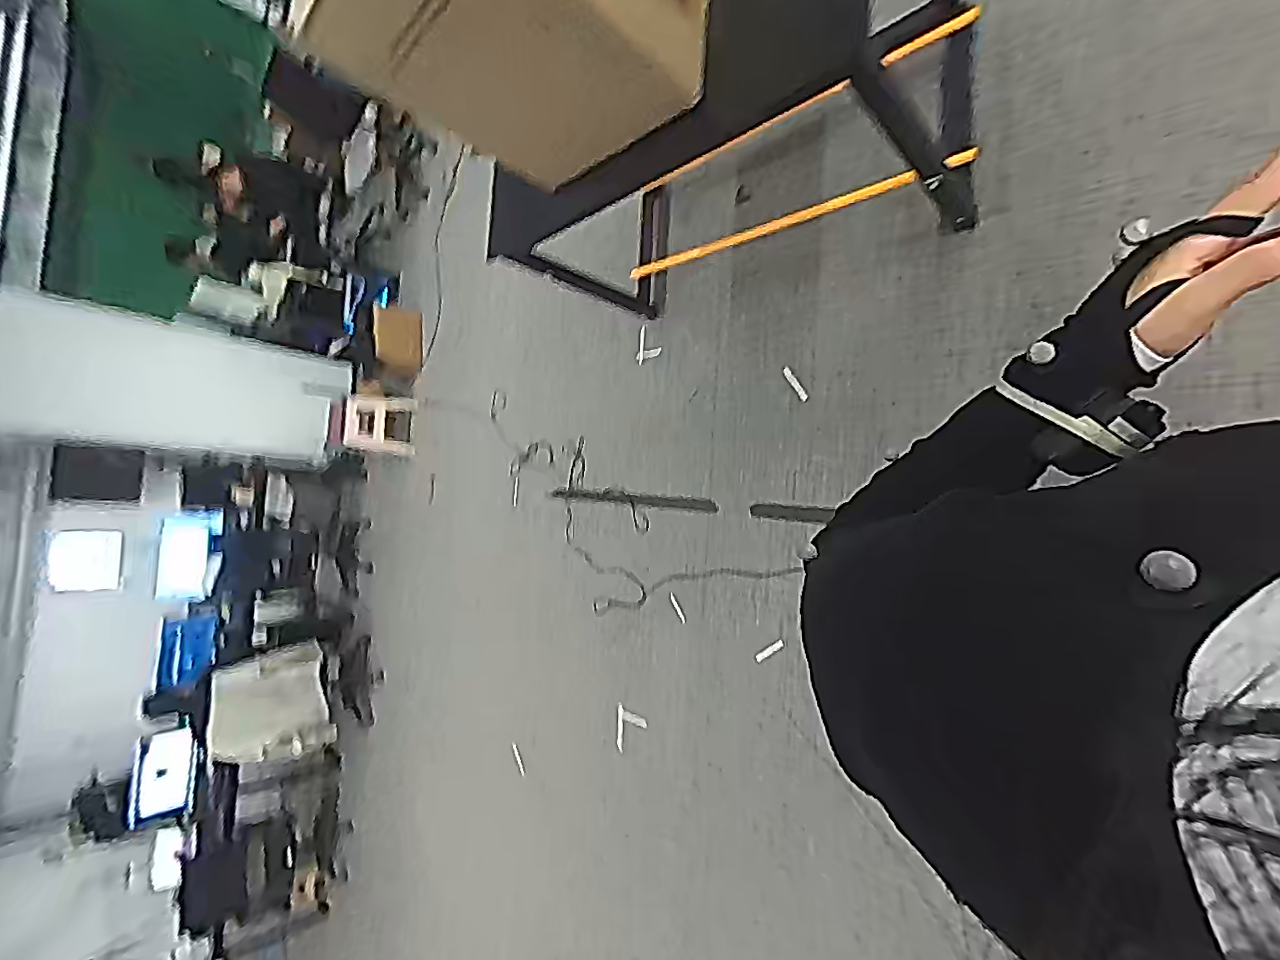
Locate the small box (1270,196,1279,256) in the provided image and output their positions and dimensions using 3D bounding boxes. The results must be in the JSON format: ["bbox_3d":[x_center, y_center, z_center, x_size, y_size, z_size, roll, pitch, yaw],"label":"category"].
[{"bbox_3d":[0.439,-0.197,0.246,0.168,0.176,0.179,20,115,42],"label":"small box"}]
